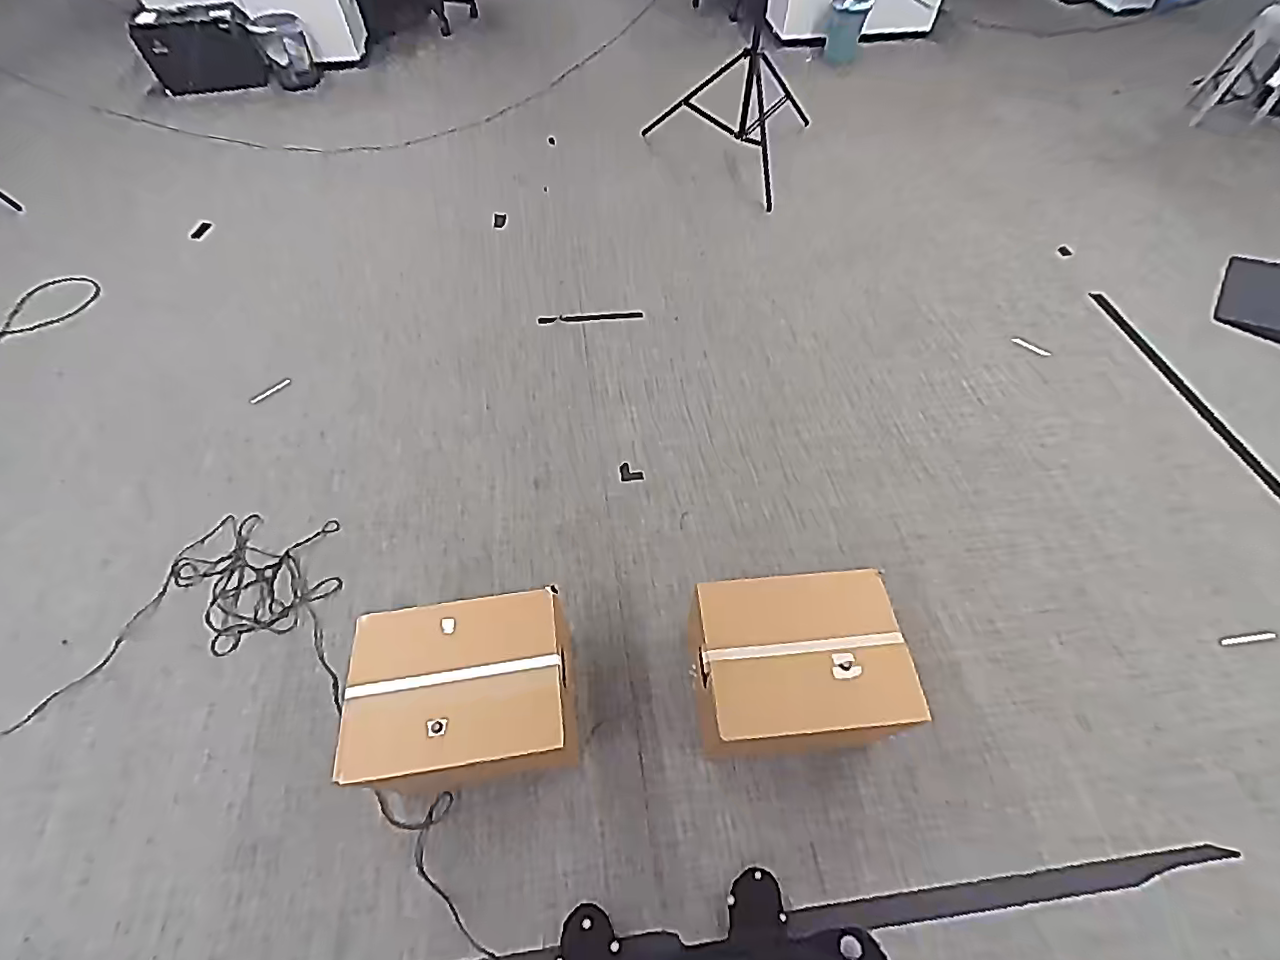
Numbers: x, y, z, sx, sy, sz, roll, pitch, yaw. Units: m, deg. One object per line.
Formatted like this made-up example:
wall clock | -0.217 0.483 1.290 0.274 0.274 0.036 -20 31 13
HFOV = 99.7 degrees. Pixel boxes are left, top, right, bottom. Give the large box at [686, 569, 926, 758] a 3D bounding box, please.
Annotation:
large box | 0.333 0.421 1.221 0.408 0.320 0.320 -4 57 -4
